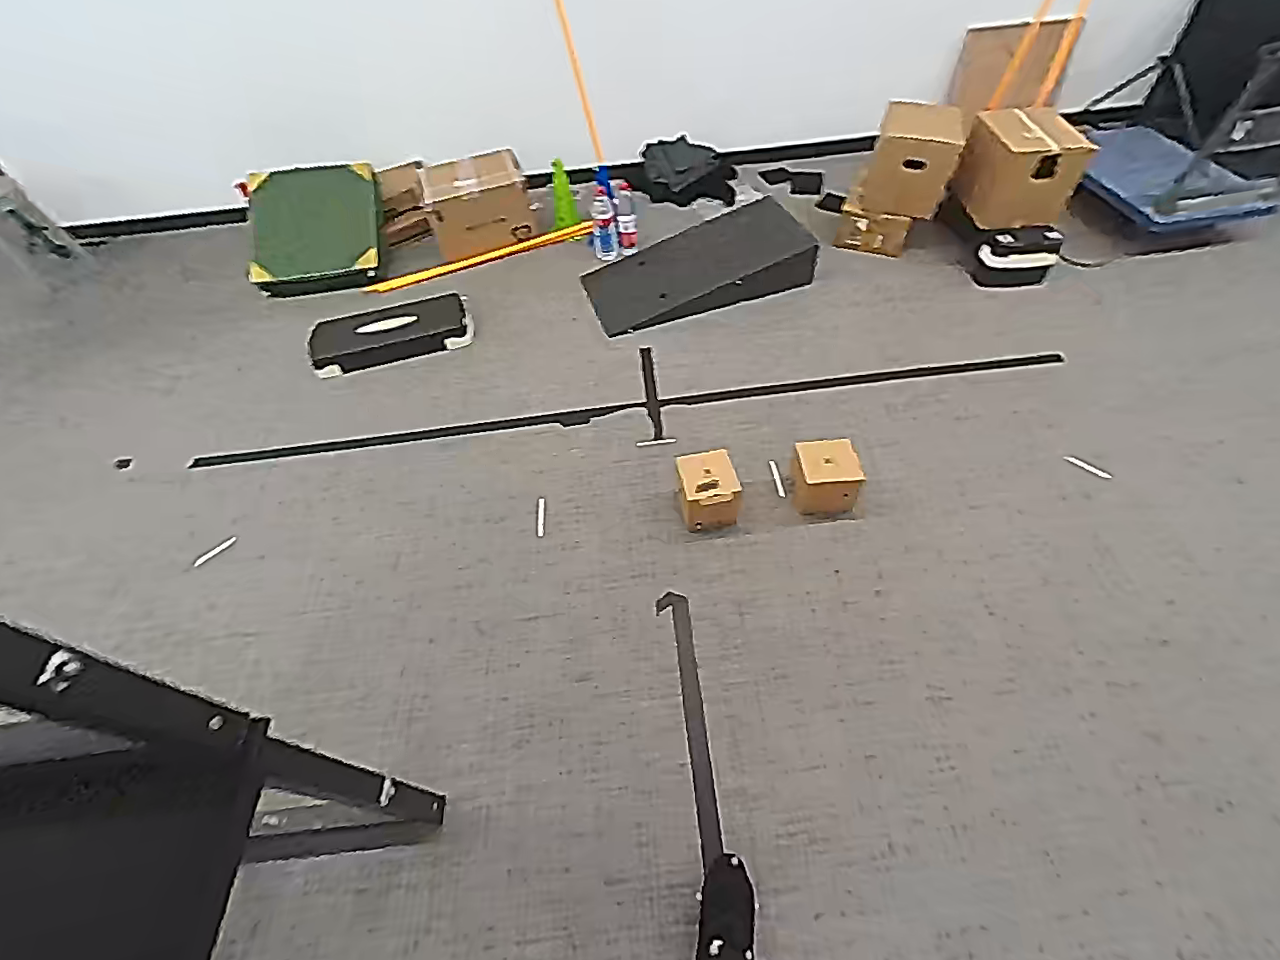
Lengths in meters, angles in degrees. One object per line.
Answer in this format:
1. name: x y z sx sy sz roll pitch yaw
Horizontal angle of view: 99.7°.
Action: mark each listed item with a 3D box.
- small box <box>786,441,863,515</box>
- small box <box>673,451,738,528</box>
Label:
1. small box: 0.577 -0.005 1.714 0.179 0.176 0.168 -4 52 1
2. small box: 0.204 0.037 1.706 0.168 0.176 0.179 -10 52 -4
